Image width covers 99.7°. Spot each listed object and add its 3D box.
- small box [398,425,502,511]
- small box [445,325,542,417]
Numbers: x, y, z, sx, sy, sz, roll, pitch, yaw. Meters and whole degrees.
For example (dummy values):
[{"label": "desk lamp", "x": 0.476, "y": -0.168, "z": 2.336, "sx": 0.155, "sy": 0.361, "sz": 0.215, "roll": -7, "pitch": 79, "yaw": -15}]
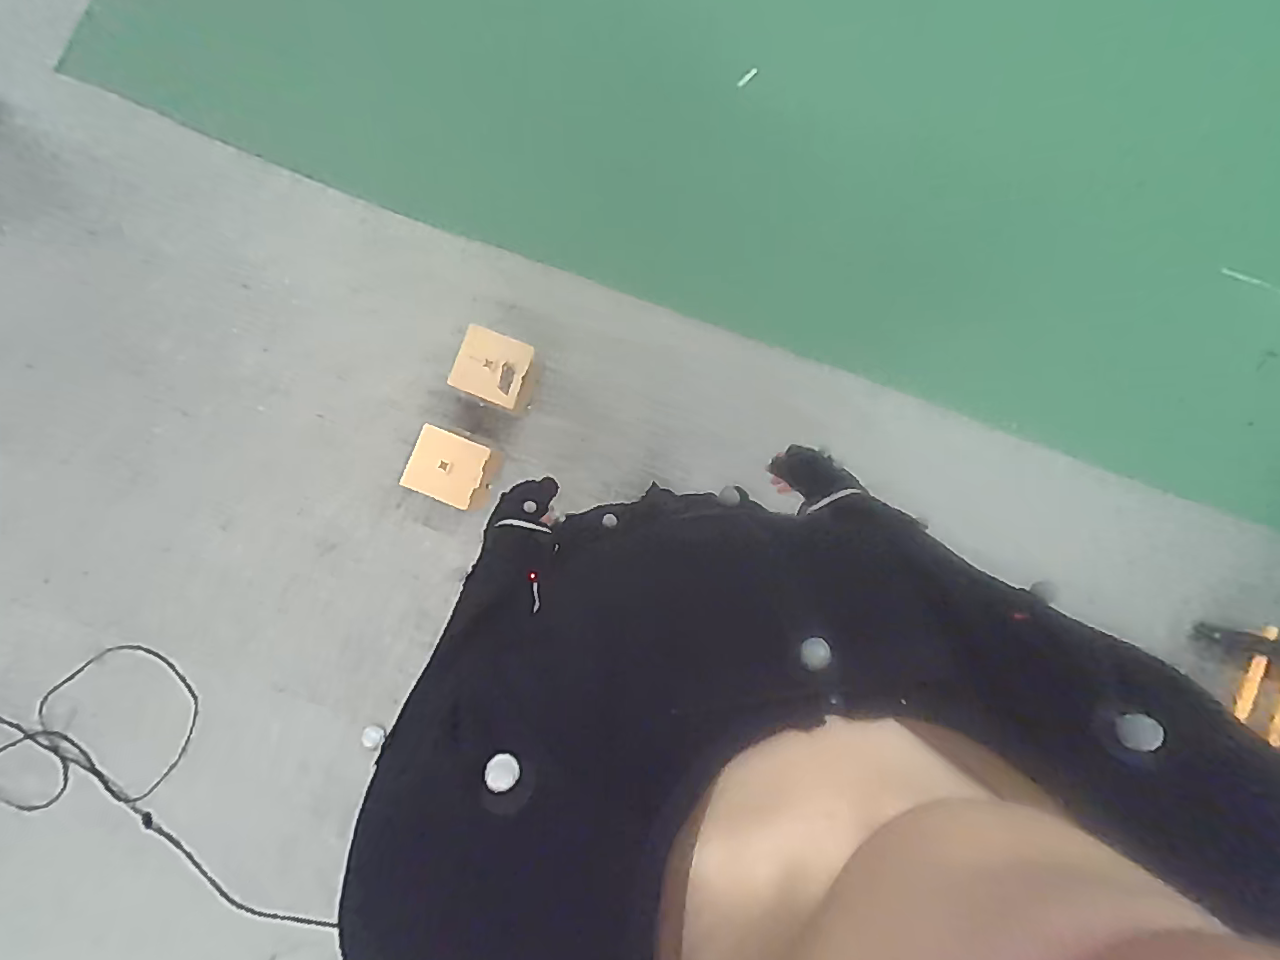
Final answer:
[{"label": "small box", "x": -0.476, "y": -0.025, "z": 1.385, "sx": 0.179, "sy": 0.176, "sz": 0.168, "roll": 22, "pitch": 88, "yaw": -2}, {"label": "small box", "x": -0.367, "y": -0.271, "z": 1.395, "sx": 0.179, "sy": 0.176, "sz": 0.168, "roll": 21, "pitch": 88, "yaw": -1}]
